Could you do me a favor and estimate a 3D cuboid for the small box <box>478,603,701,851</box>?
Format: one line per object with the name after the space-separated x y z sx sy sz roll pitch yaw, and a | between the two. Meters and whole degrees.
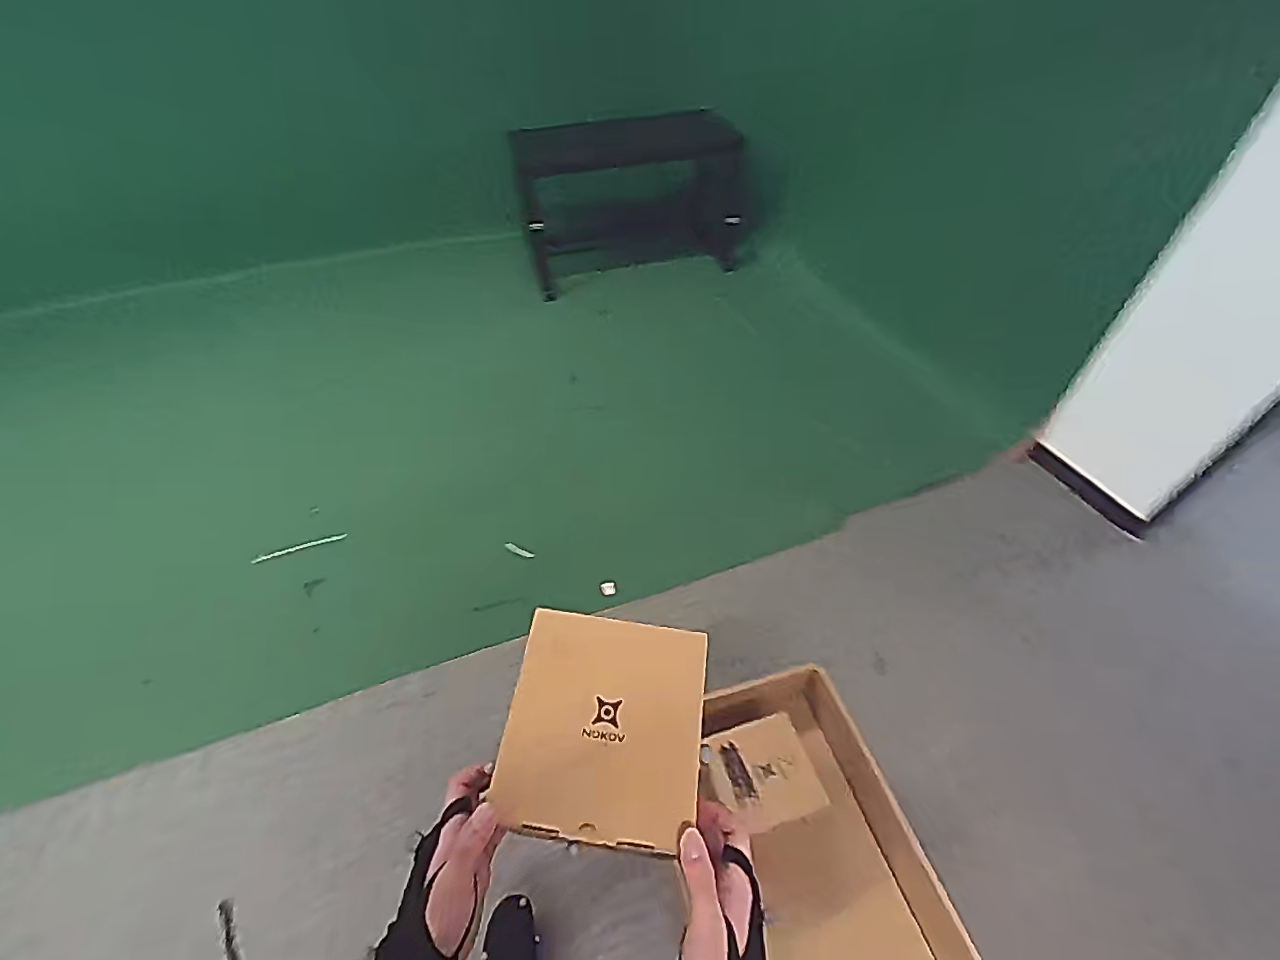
-0.041 0.242 0.522 0.168 0.176 0.179 8 56 0 | small box
